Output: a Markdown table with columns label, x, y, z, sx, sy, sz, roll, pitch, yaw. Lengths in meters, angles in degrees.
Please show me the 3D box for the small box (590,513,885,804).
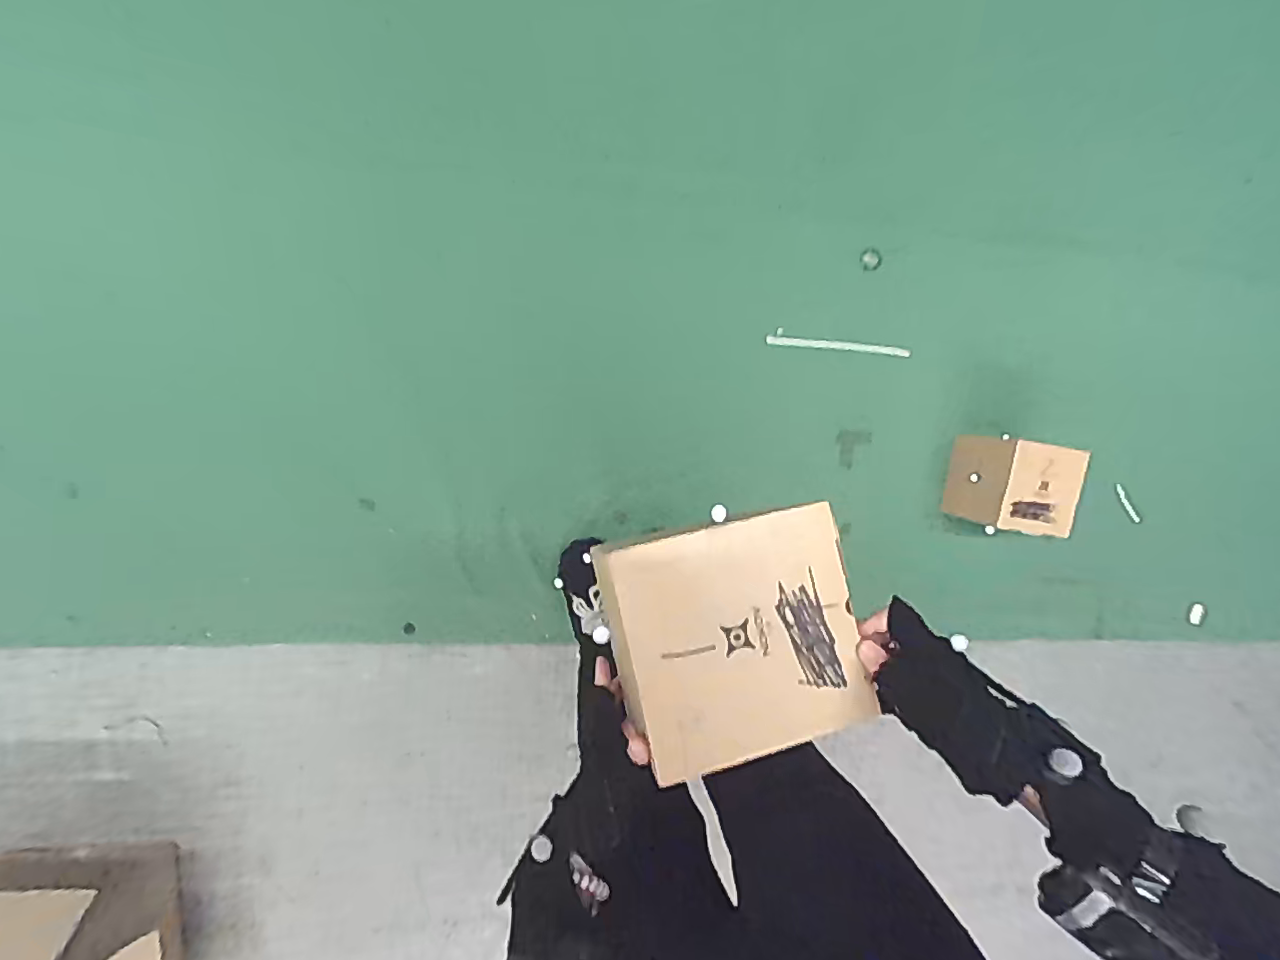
| label | x | y | z | sx | sy | sz | roll | pitch | yaw |
| --- | --- | --- | --- | --- | --- | --- | --- | --- | --- |
| small box | 0.063 | 0.125 | 0.454 | 0.179 | 0.176 | 0.168 | -13 | 86 | -10 |
